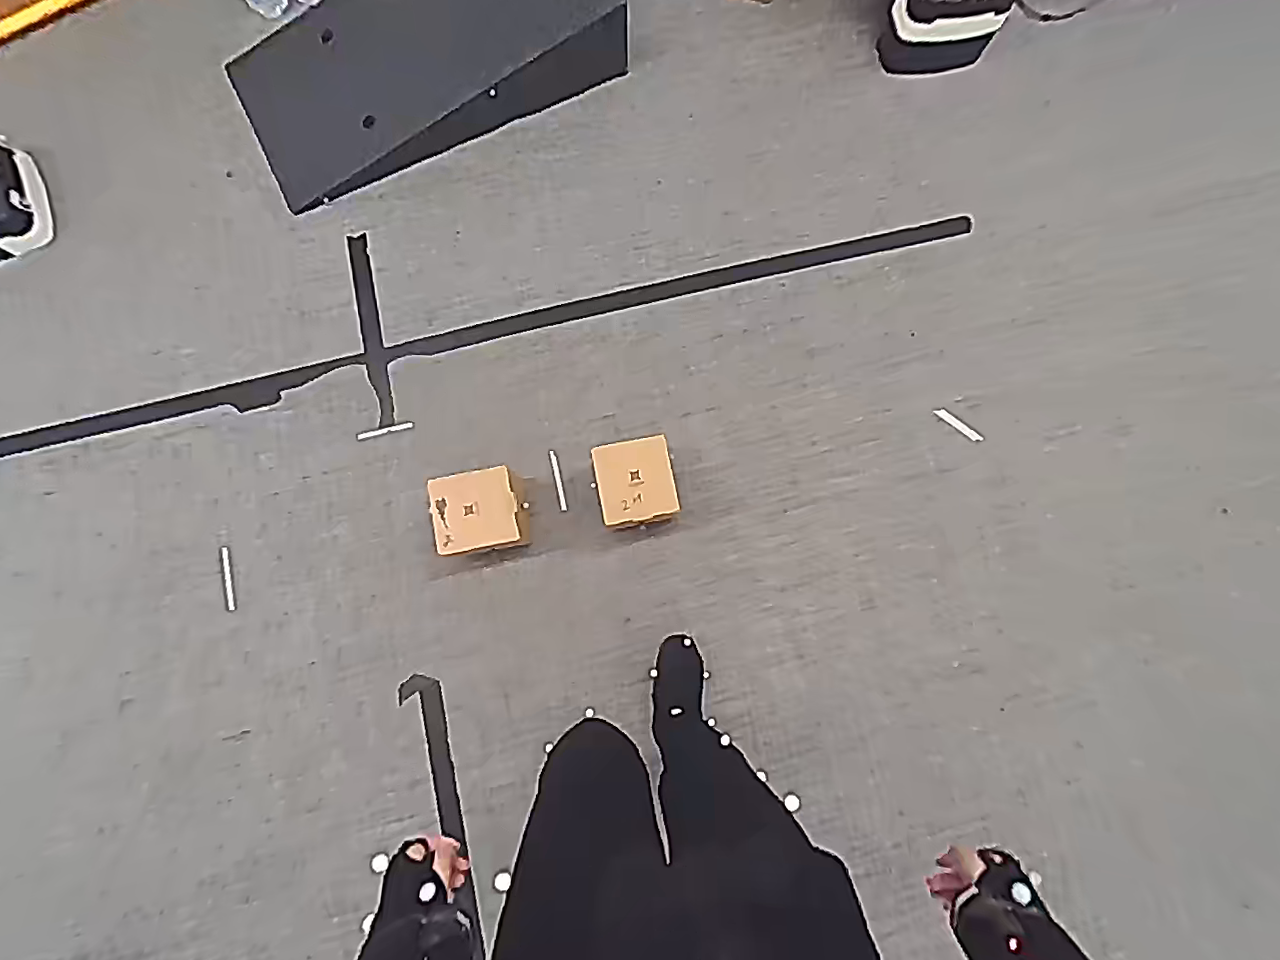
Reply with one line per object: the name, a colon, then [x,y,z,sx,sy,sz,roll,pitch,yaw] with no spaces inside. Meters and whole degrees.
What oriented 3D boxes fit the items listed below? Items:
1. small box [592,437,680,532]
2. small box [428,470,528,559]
small box: [-0.012,0.016,1.233,0.168,0.176,0.179,-11,82,-3]
small box: [-0.354,0.081,1.215,0.179,0.176,0.168,-11,81,-4]
